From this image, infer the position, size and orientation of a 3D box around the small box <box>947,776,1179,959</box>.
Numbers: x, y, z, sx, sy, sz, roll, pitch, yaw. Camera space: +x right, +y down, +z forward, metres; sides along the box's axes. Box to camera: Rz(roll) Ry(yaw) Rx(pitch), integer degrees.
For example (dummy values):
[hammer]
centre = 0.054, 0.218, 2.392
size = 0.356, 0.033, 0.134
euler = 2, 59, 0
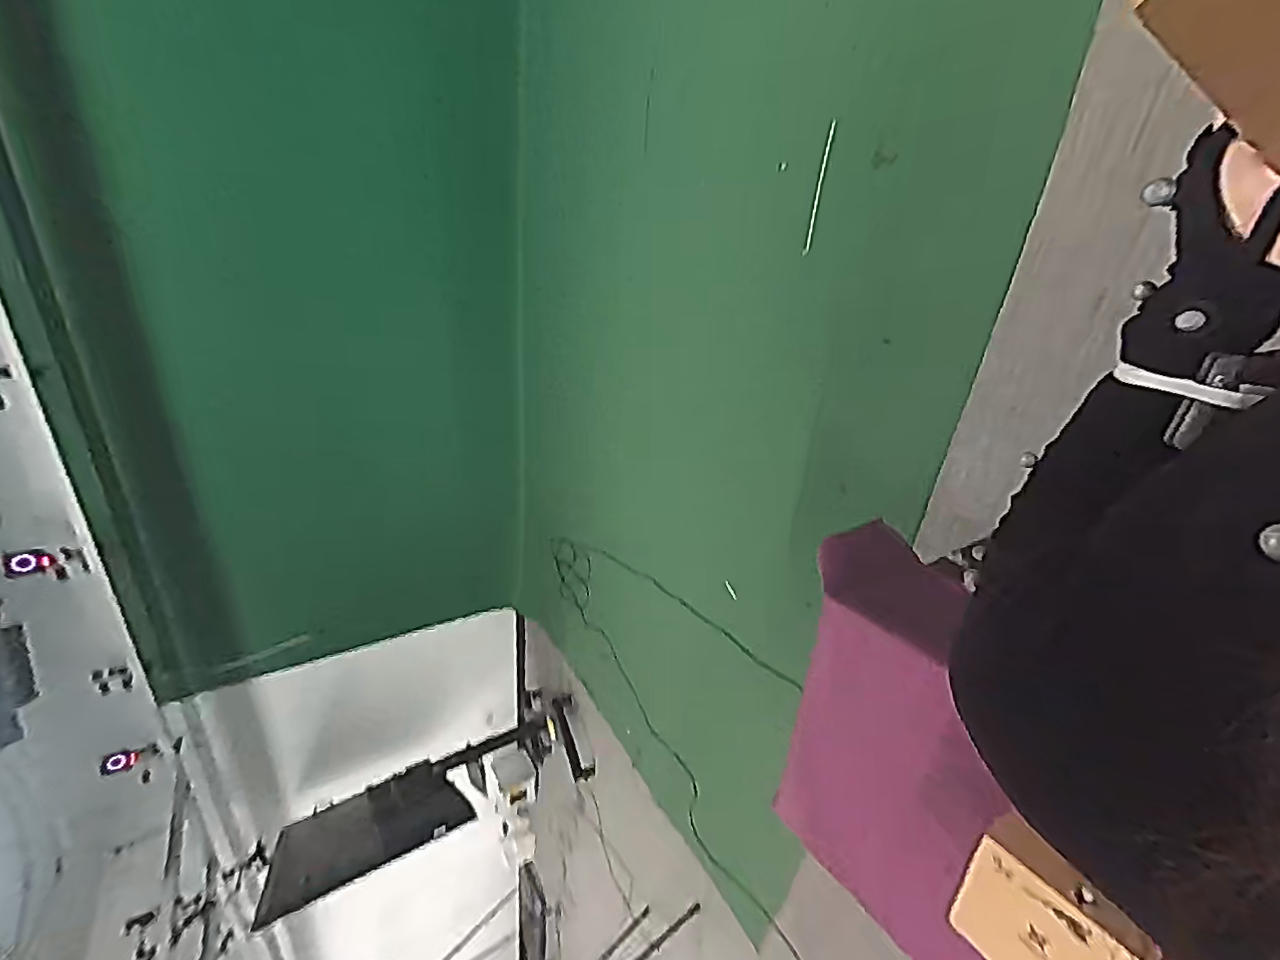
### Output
[small box]
centre = 0.538, 0.534, 0.695
size = 0.168, 0.176, 0.179
euler = 31, 125, 49
